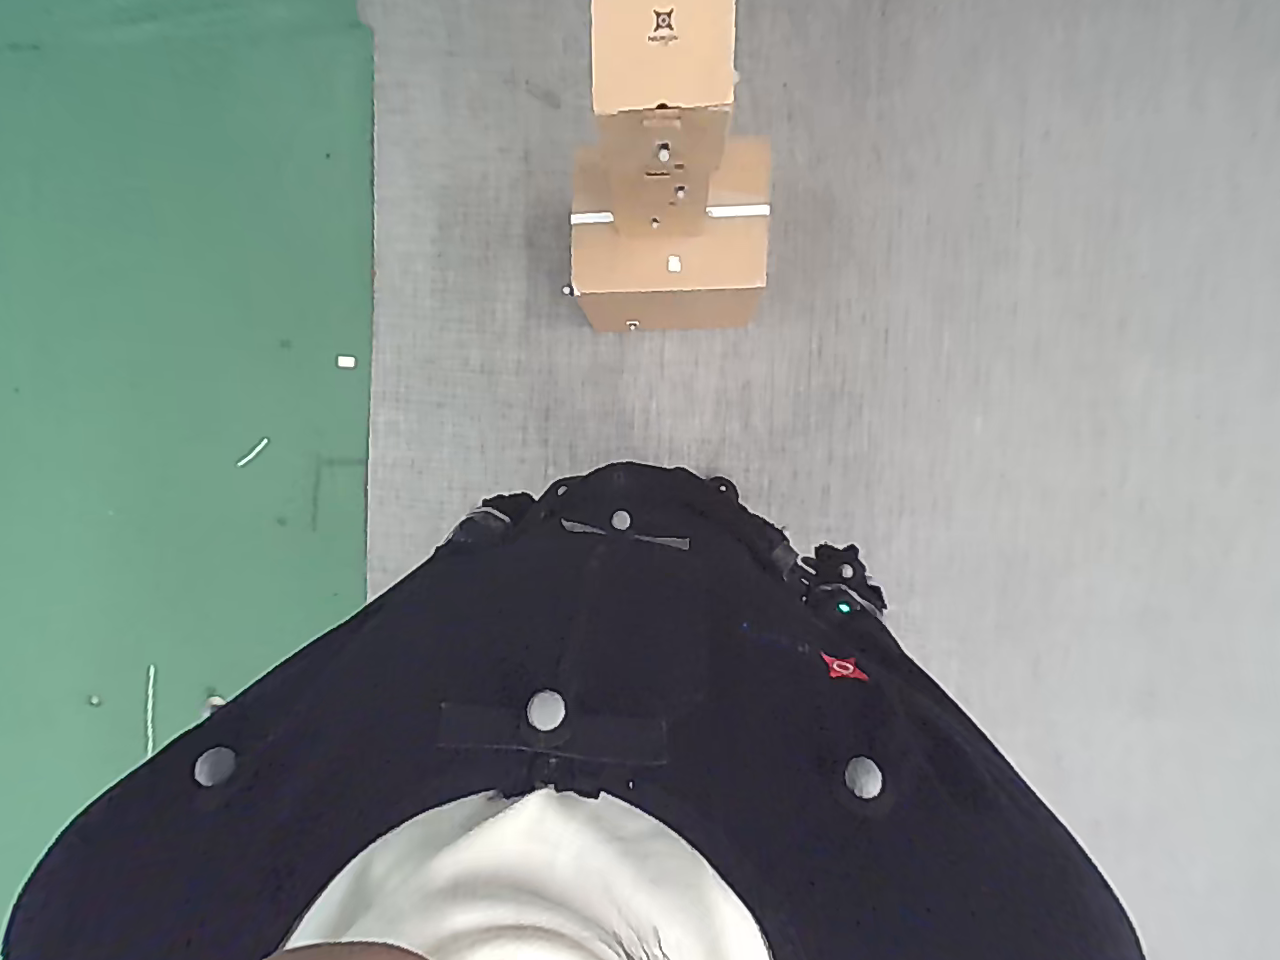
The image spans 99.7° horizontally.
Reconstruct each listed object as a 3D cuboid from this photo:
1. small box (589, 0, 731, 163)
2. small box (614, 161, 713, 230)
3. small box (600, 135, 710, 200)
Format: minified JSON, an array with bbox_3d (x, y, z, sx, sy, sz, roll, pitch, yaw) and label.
[{"bbox_3d":[0.029,-0.532,0.700,0.168,0.176,0.179,1,99,5],"label":"small box"},{"bbox_3d":[0.044,-0.584,1.021,0.179,0.176,0.168,-1,98,5],"label":"small box"},{"bbox_3d":[0.030,-0.562,0.861,0.168,0.176,0.179,0,97,4],"label":"small box"}]
